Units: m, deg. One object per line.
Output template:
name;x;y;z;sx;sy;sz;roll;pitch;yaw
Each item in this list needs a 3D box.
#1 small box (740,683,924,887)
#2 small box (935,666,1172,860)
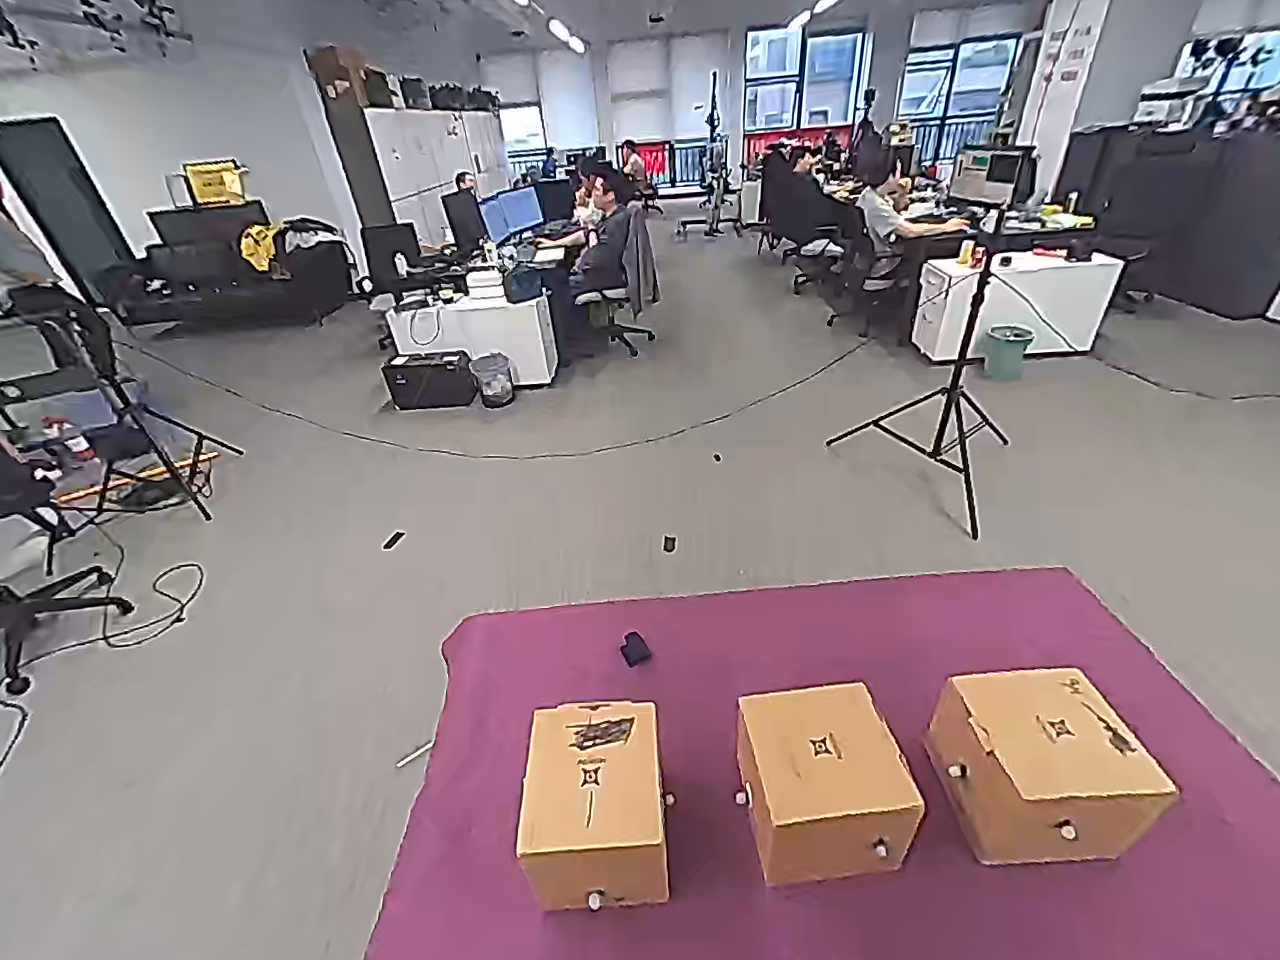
small box;0.235;0.399;0.713;0.179;0.176;0.168;-8;32;-2
small box;0.513;0.372;0.711;0.179;0.176;0.168;-5;33;2
